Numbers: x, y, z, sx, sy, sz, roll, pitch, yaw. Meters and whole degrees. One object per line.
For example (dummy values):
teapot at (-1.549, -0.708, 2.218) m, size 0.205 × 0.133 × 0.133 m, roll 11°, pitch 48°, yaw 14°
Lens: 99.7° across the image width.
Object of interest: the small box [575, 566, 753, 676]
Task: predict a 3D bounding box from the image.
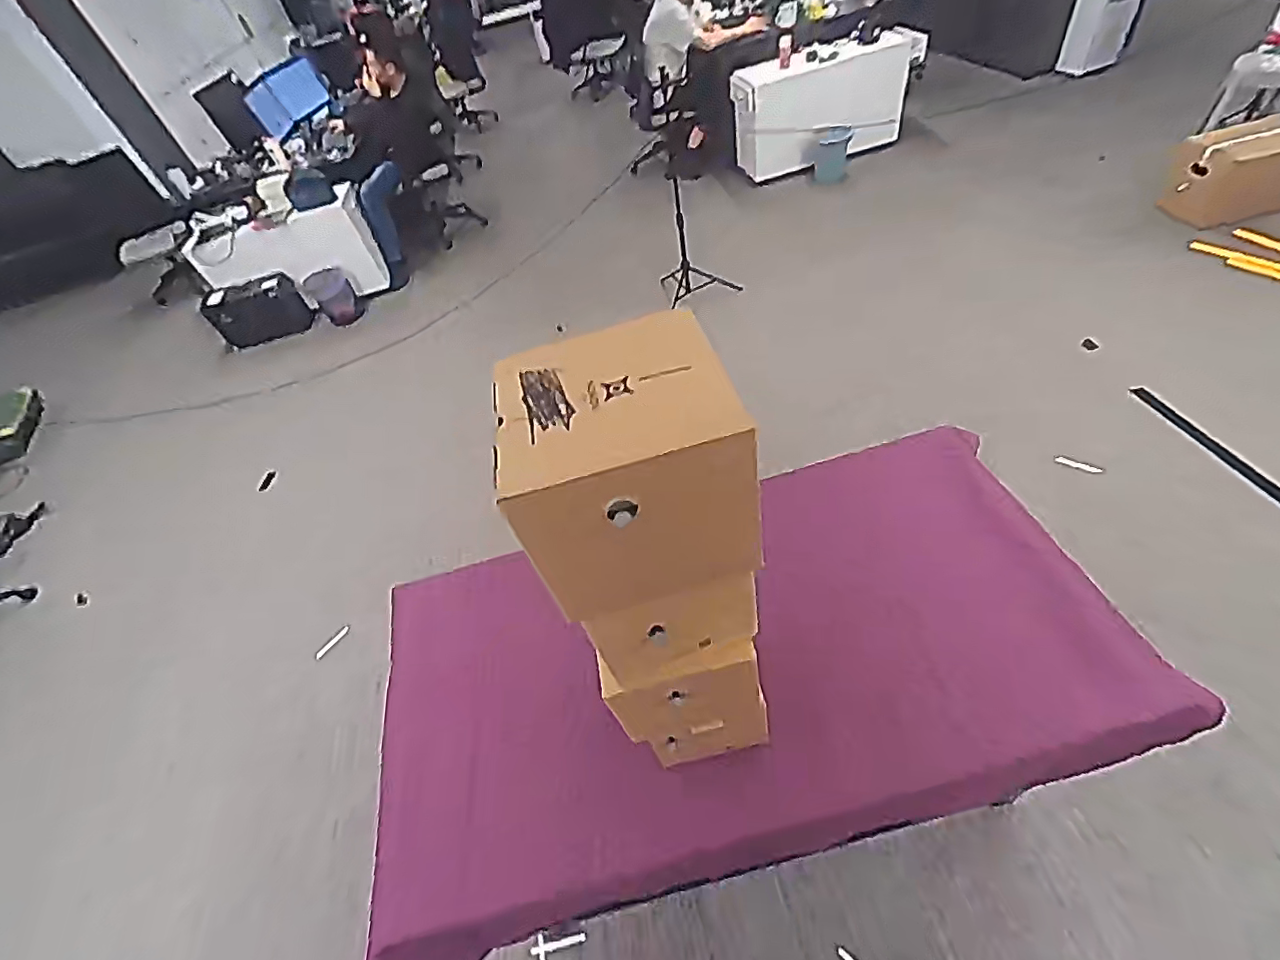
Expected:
small box at (0.014, 0.090, 0.590) m, size 0.168 × 0.176 × 0.179 m, roll -21°, pitch 46°, yaw -4°

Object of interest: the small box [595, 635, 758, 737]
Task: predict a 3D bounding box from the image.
small box at (0.044, 0.209, 0.697) m, size 0.179 × 0.176 × 0.168 m, roll -15°, pitch 47°, yaw 1°

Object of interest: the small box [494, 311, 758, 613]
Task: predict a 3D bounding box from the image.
small box at (-0.009, -0.010, 0.461) m, size 0.179 × 0.176 × 0.168 m, roll -16°, pitch 46°, yaw 0°
